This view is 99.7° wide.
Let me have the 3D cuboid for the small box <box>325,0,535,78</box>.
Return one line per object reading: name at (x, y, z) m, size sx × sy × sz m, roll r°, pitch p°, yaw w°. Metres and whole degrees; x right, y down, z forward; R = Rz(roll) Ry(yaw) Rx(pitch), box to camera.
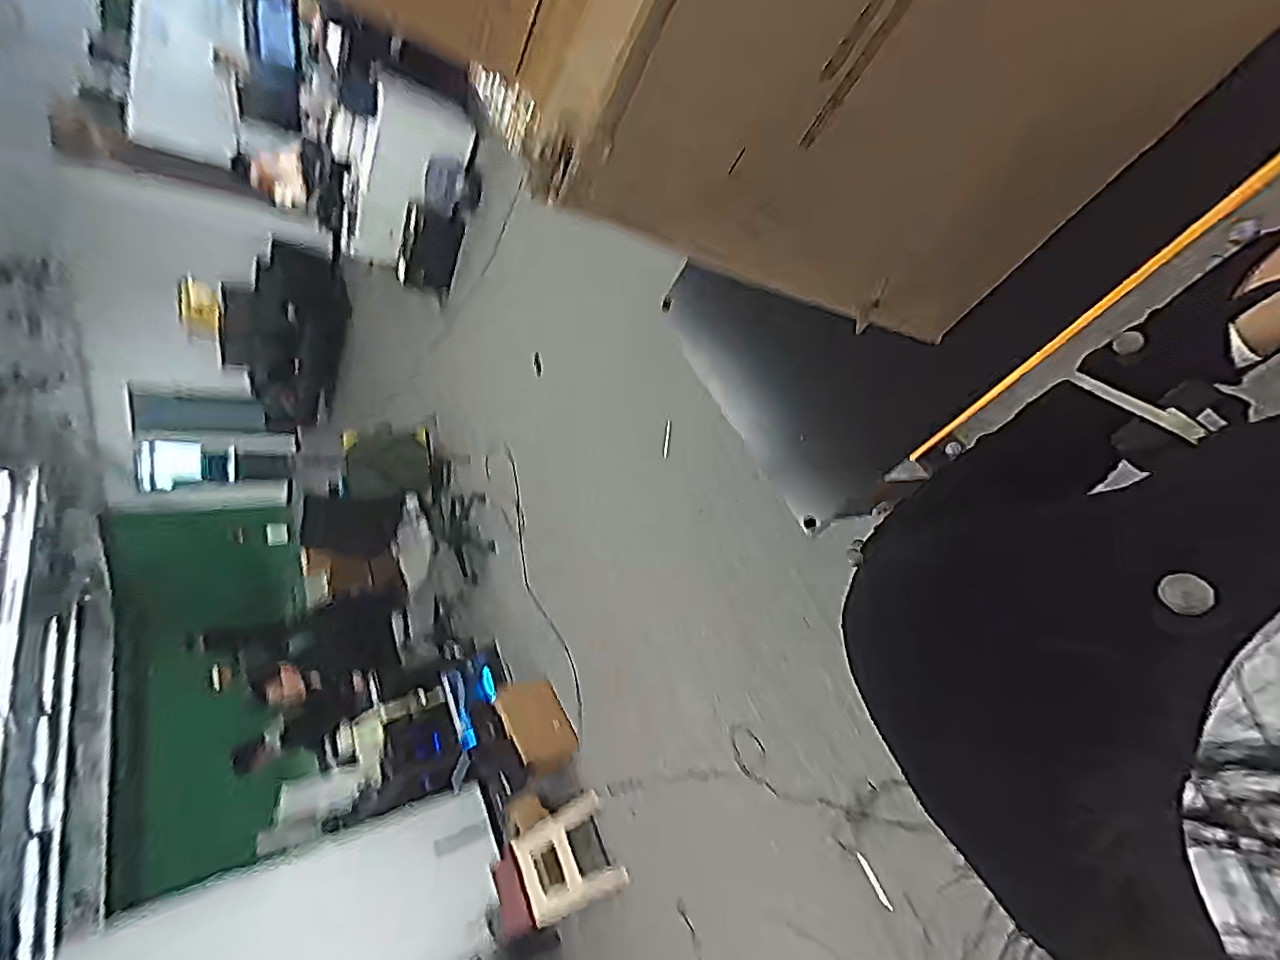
small box at (-0.156, -0.383, 0.321) m, size 0.179 × 0.176 × 0.168 m, roll 55°, pitch 130°, yaw 30°
